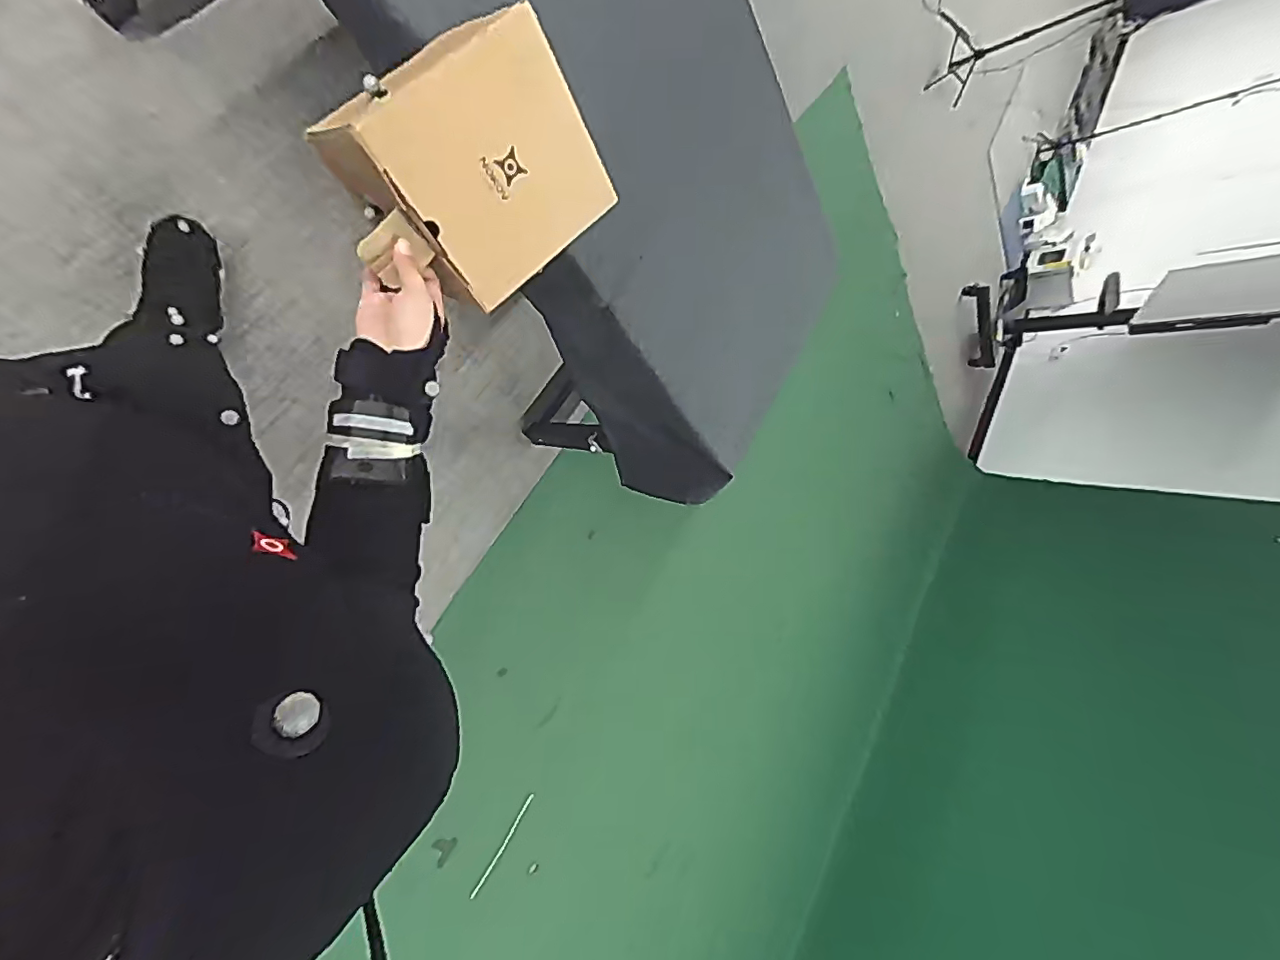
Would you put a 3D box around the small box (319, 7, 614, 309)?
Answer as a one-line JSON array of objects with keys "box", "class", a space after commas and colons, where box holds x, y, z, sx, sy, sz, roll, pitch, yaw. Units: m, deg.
[{"box": [-0.162, -0.295, 0.511, 0.179, 0.176, 0.168, -46, 137, -12], "class": "small box"}]
